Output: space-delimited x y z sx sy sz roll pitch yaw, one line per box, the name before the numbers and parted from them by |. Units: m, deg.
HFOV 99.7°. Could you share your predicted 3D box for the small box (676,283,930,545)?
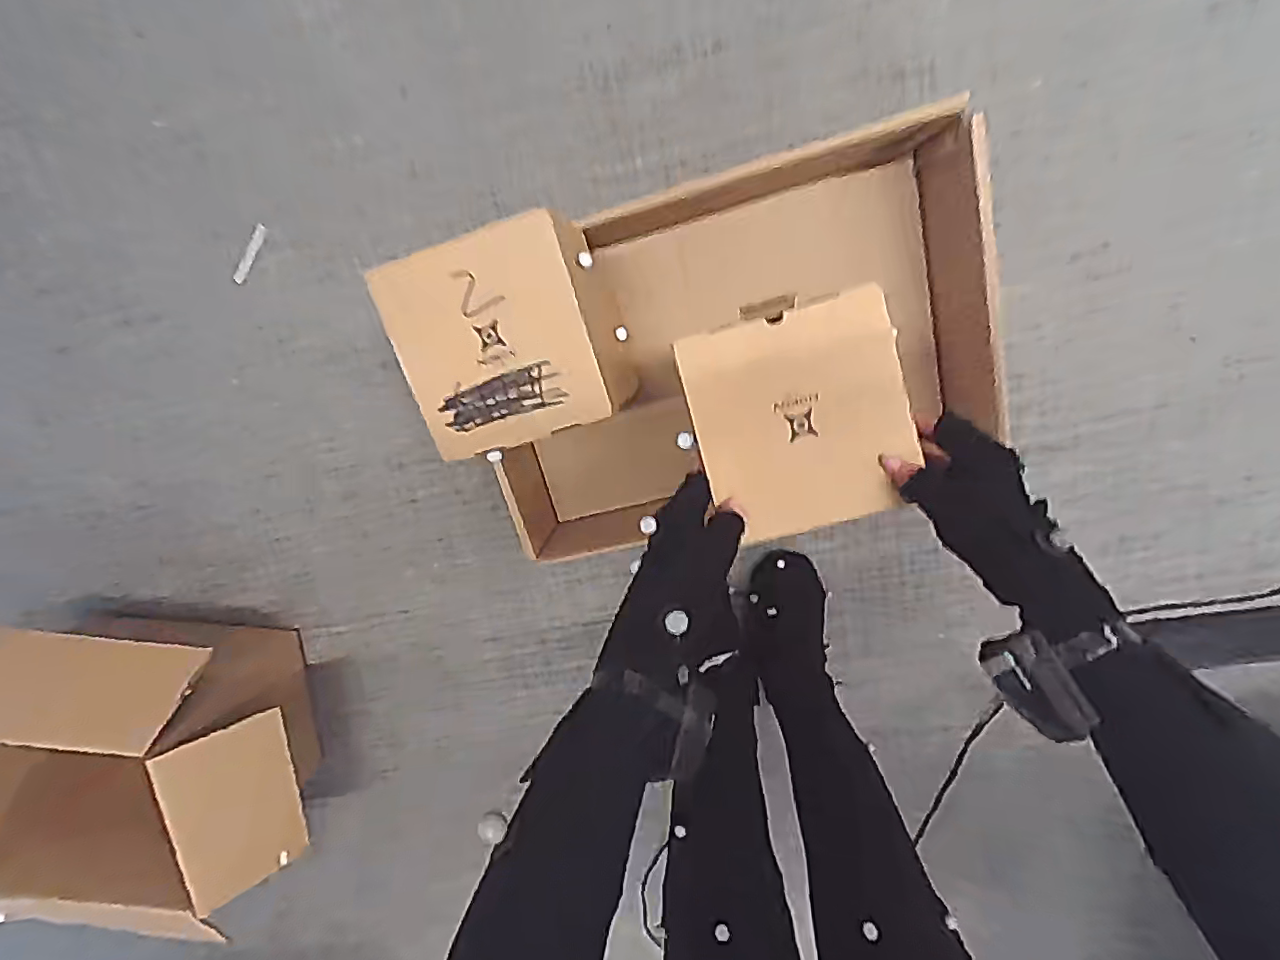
small box | 0.137 -0.055 0.504 0.168 0.176 0.179 -15 92 7
